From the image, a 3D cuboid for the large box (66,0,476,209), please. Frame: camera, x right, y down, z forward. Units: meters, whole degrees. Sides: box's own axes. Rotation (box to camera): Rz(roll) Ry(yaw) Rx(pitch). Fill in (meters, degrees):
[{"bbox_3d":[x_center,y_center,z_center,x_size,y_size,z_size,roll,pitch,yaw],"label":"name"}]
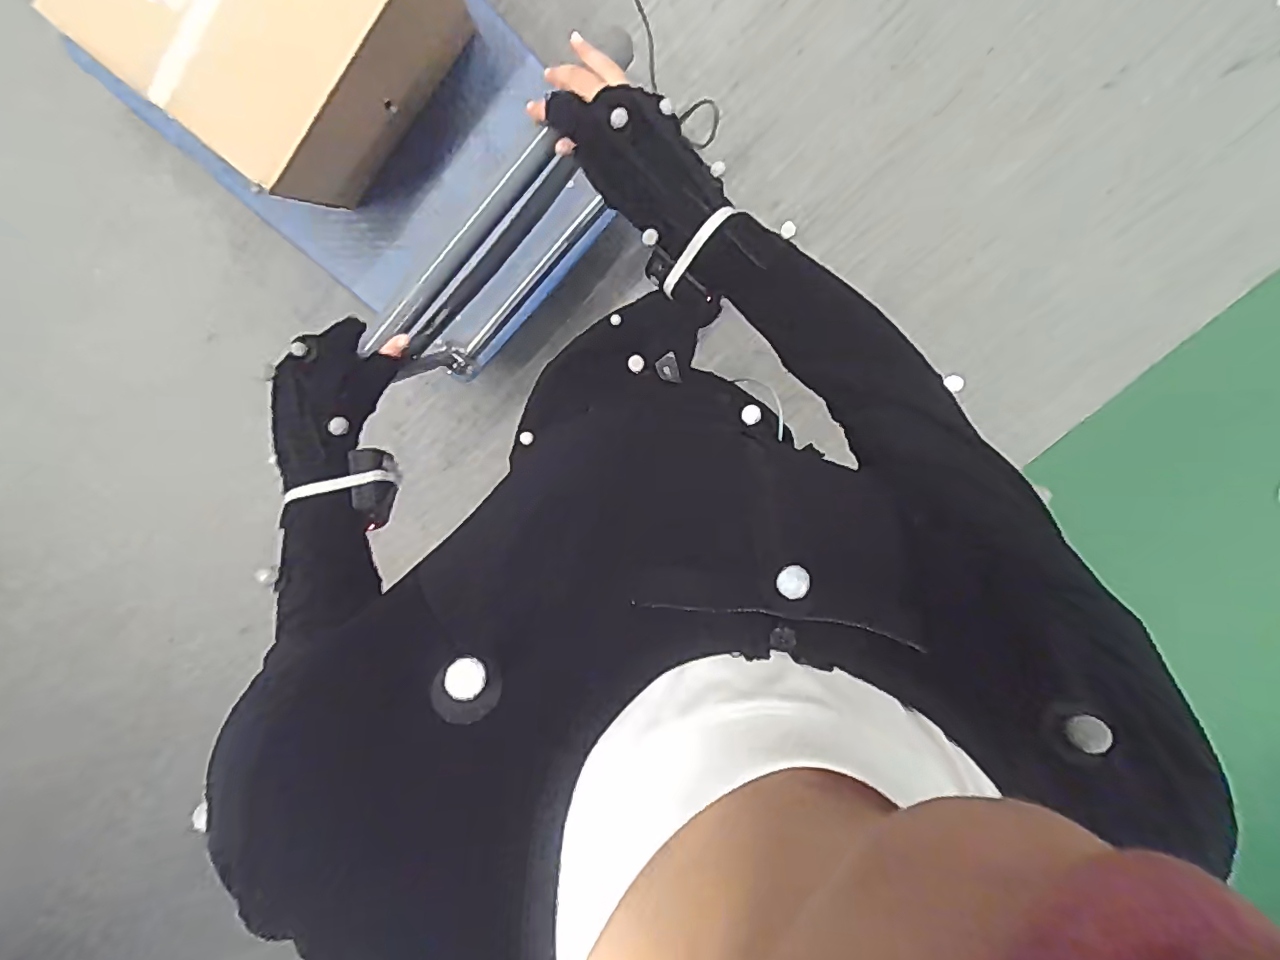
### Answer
[{"bbox_3d":[-0.513,-0.699,0.831,0.320,0.320,0.408,38,105,-18],"label":"large box"}]
